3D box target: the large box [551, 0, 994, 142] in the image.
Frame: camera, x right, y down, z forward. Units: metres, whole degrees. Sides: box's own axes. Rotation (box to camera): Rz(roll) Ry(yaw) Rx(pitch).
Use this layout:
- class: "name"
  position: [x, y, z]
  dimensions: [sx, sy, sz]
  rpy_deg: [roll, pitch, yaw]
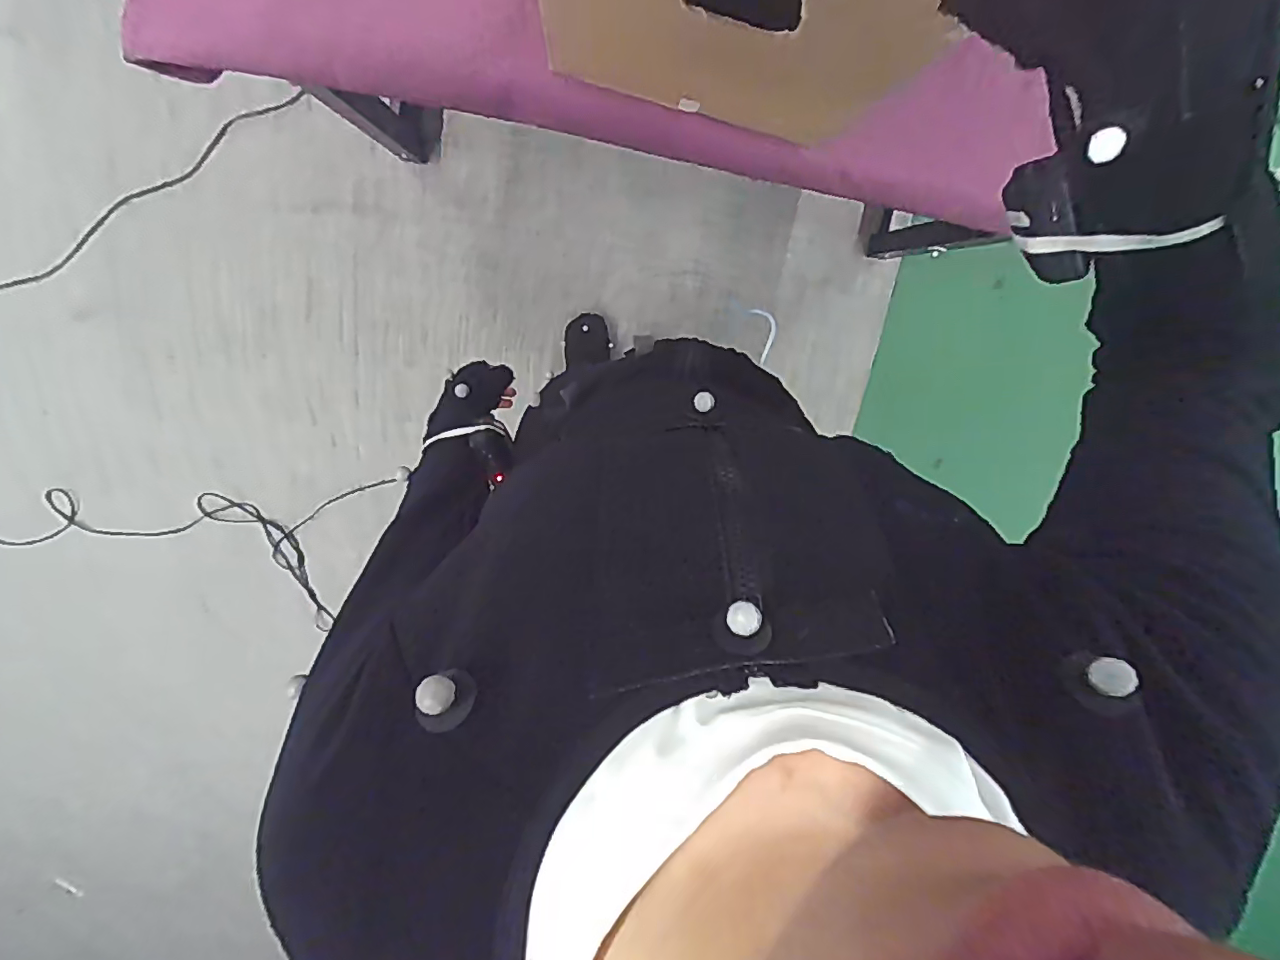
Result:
- class: "large box"
  position: [0.110, -0.563, 0.423]
  dimensions: [0.320, 0.320, 0.408]
  rpy_deg: [10, 107, -8]
